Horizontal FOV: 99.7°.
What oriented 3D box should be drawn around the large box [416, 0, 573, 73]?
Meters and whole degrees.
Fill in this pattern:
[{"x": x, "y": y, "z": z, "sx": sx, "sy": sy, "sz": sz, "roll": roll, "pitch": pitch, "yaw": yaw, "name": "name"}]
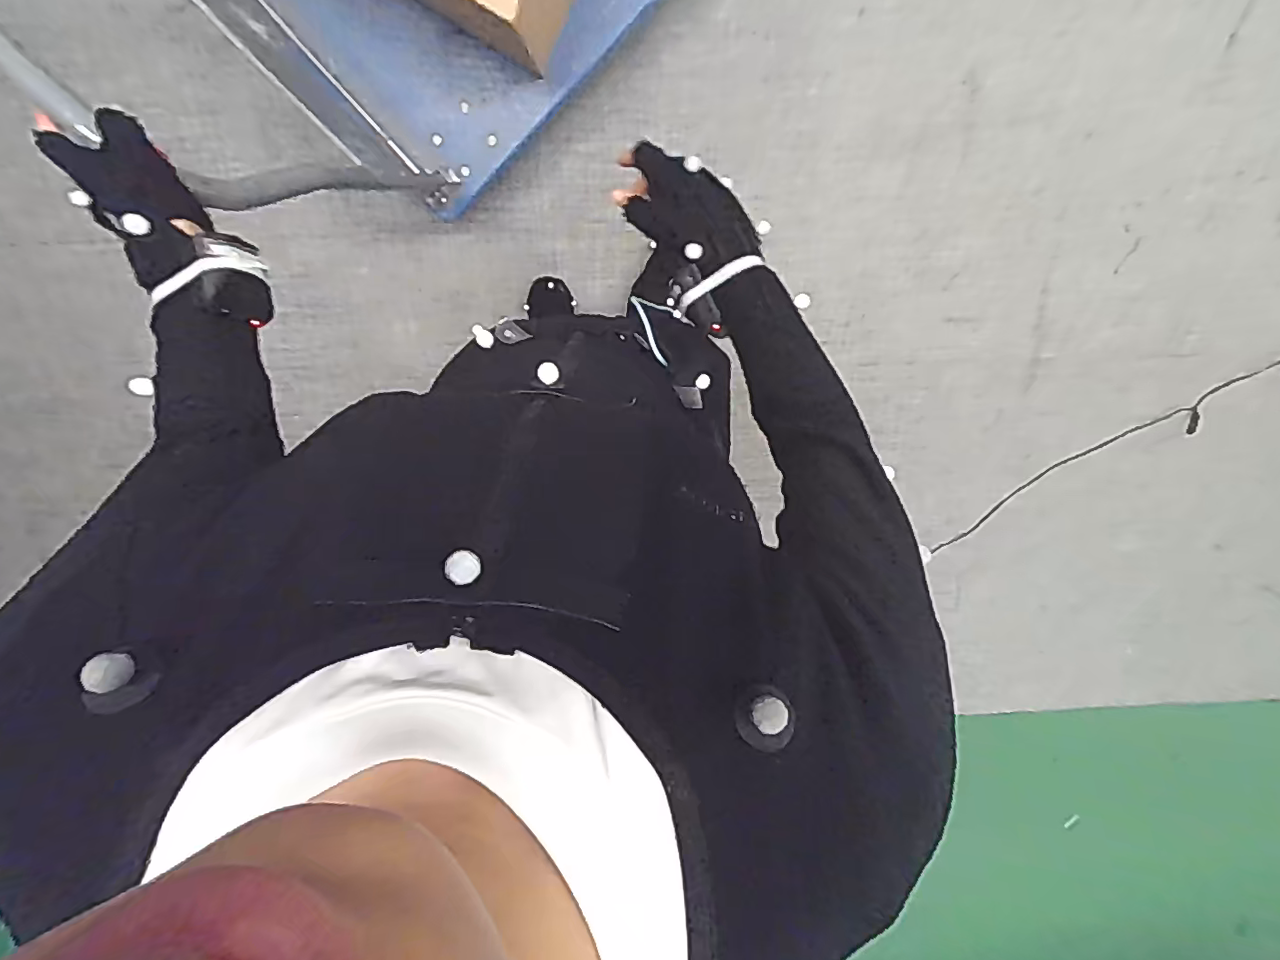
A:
[{"x": -0.283, "y": -0.889, "z": 0.780, "sx": 0.408, "sy": 0.320, "sz": 0.320, "roll": 25, "pitch": 112, "yaw": -12, "name": "large box"}]
